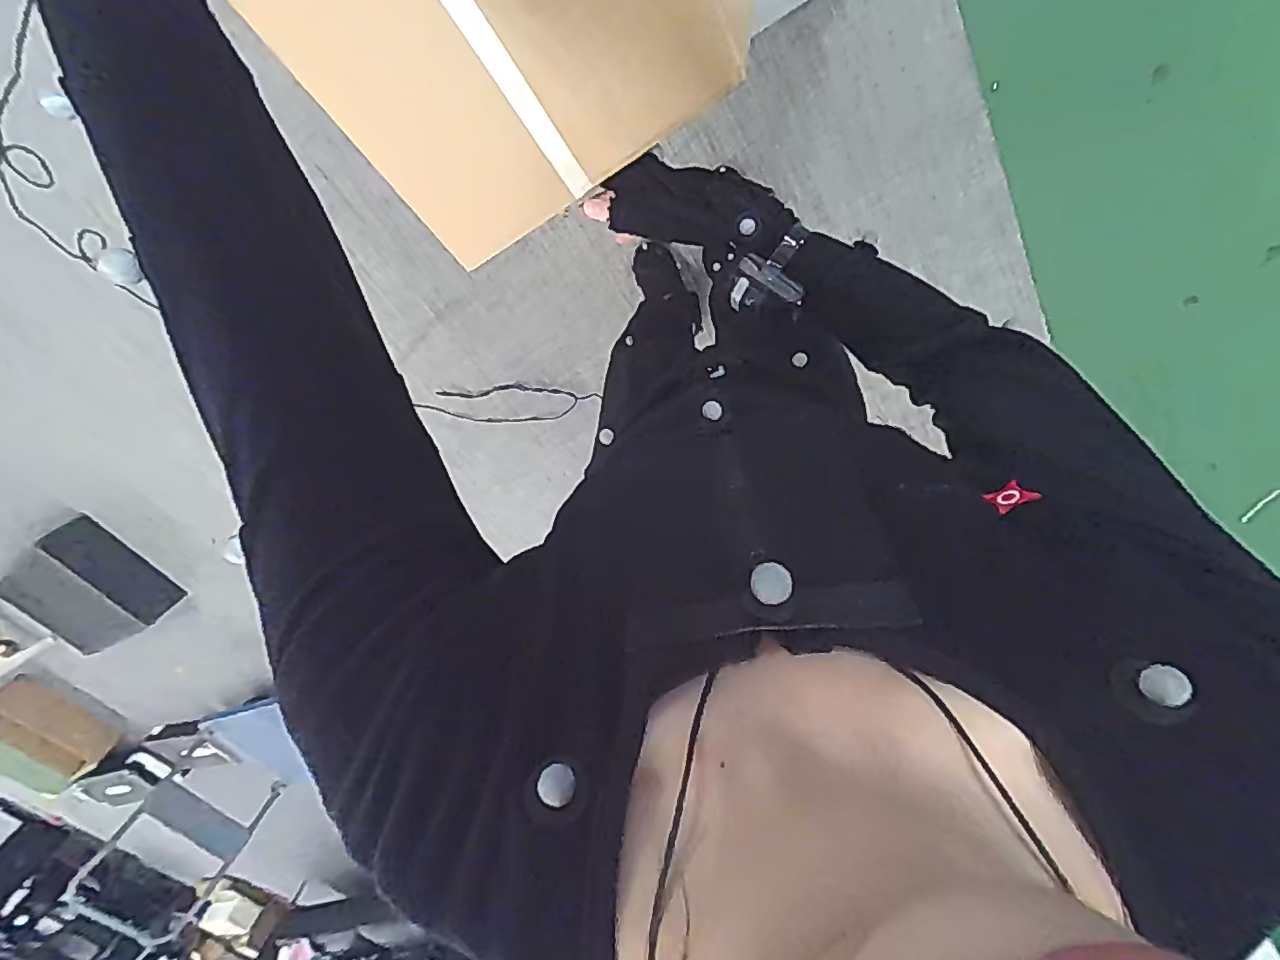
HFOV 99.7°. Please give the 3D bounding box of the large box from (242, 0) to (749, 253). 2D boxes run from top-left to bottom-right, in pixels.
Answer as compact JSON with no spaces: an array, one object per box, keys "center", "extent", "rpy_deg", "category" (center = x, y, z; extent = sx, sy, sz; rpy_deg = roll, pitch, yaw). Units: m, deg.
[{"center":[-0.136,-0.496,0.455],"extent":[0.320,0.320,0.408],"rpy_deg":[-18,130,31],"category":"large box"}]
